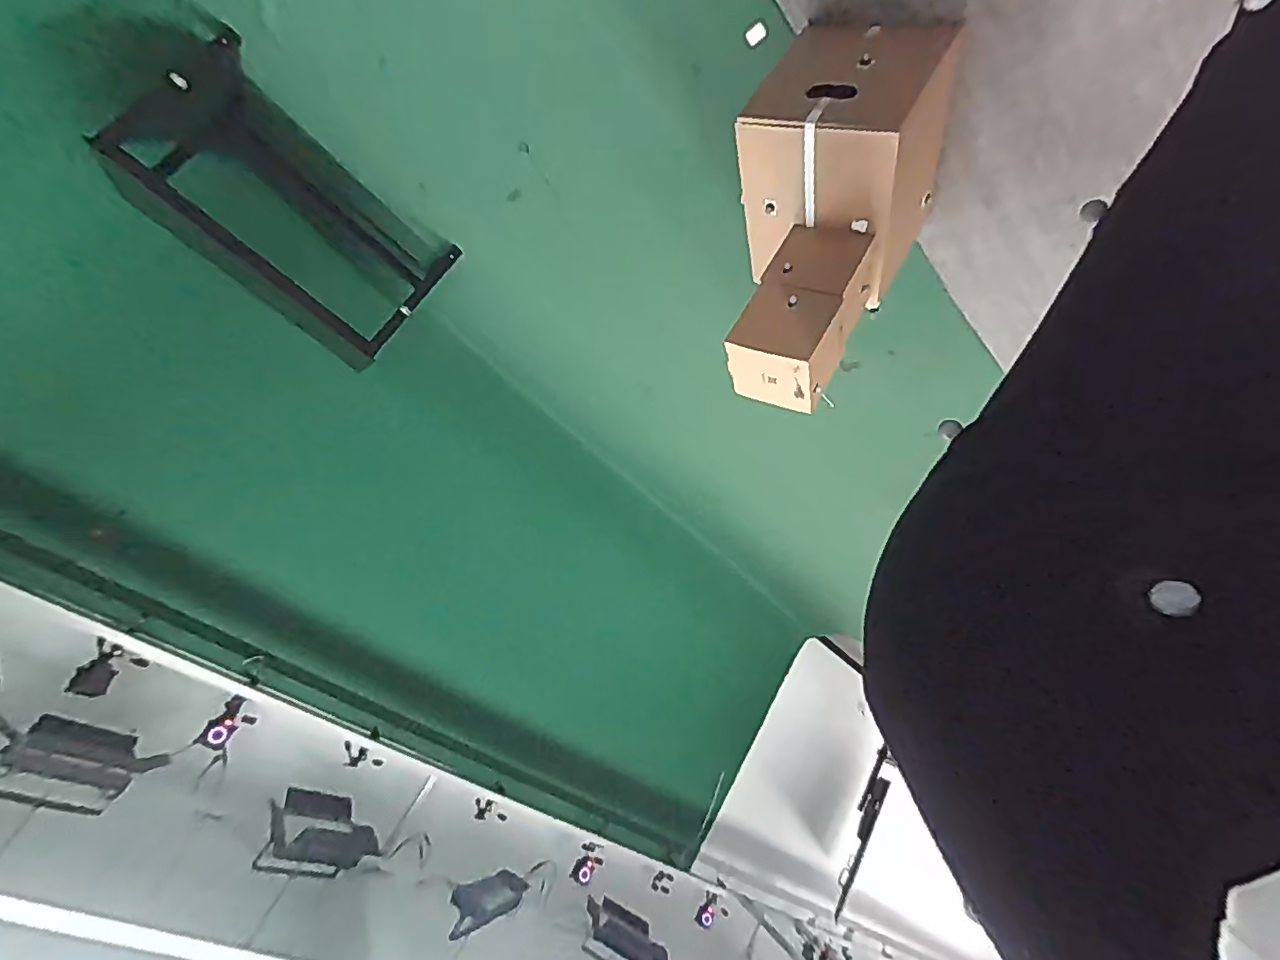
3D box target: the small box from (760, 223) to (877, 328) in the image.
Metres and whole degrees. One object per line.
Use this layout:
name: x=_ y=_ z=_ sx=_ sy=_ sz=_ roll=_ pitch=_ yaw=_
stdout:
small box: x=0.375 y=-0.415 z=1.143 sx=0.179 sy=0.176 sz=0.168 roll=22 pitch=162 yaw=27

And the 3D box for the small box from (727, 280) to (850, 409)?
small box: x=0.301 y=-0.277 z=1.093 sx=0.179 sy=0.176 sz=0.168 roll=23 pitch=162 yaw=28
